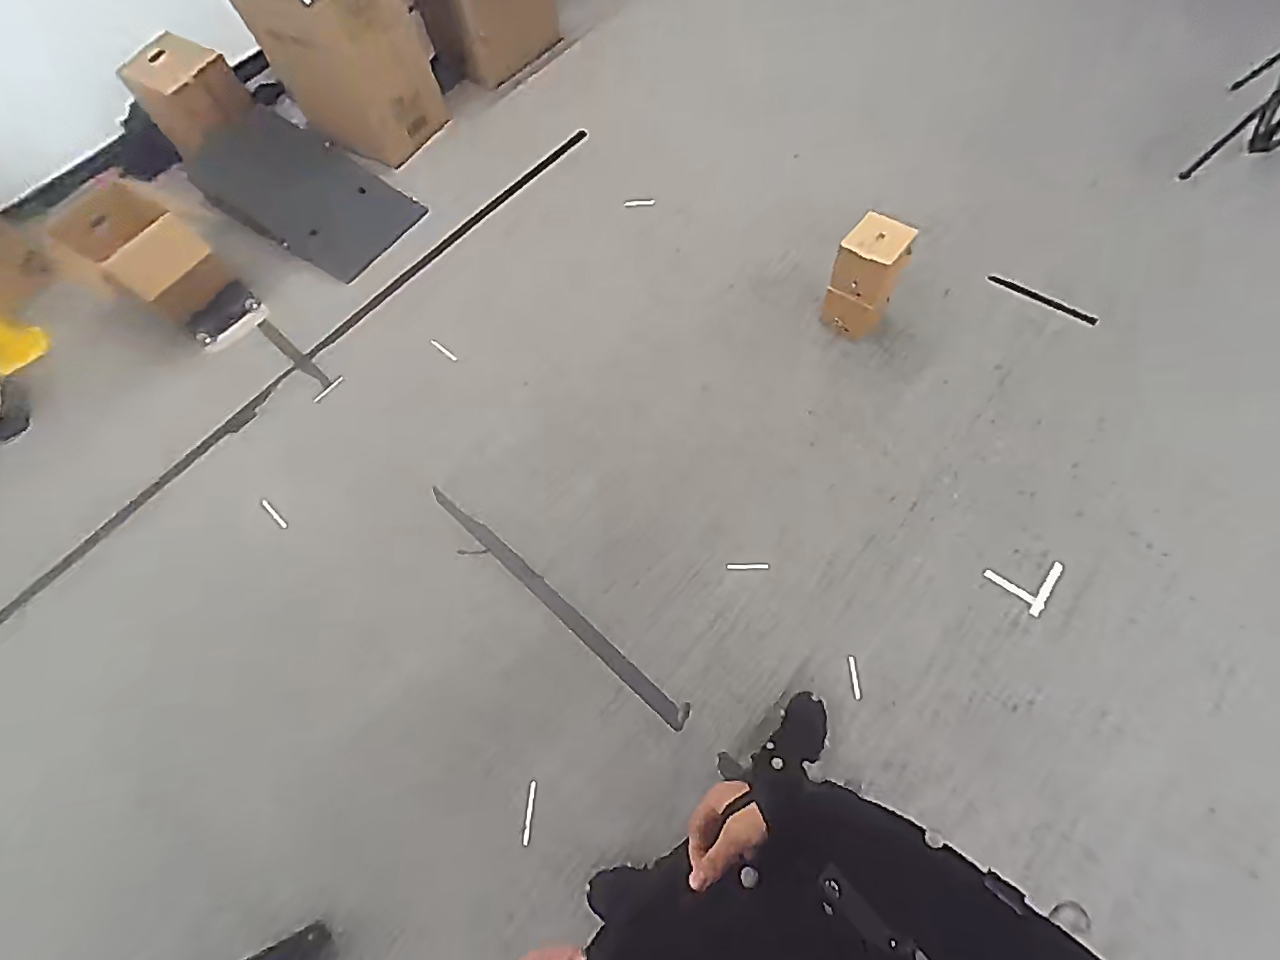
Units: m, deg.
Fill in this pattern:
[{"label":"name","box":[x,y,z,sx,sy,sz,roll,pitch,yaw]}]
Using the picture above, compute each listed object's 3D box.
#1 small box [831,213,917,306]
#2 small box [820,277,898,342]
[{"label":"small box","box":[0.721,-0.686,1.690,0.168,0.176,0.179,36,74,22]},{"label":"small box","box":[0.734,-0.609,1.835,0.168,0.176,0.179,36,74,22]}]
